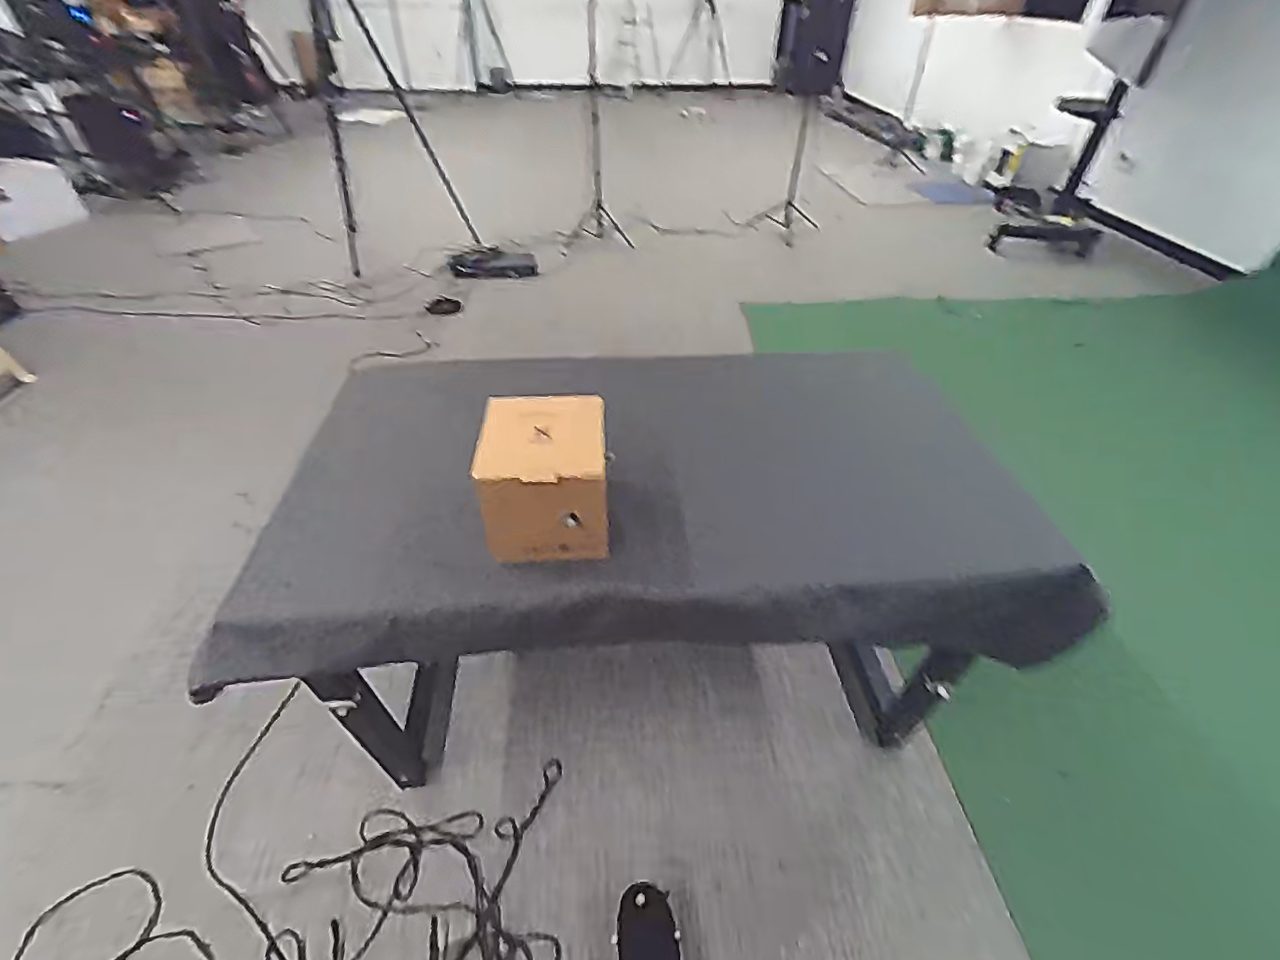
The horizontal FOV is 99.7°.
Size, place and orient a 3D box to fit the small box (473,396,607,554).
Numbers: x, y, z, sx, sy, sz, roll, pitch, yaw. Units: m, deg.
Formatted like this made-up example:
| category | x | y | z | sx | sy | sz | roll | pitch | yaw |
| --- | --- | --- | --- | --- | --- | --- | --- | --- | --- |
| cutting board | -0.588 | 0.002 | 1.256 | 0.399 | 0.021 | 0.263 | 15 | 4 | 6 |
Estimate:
| category | x | y | z | sx | sy | sz | roll | pitch | yaw |
| --- | --- | --- | --- | --- | --- | --- | --- | --- | --- |
| small box | -0.134 | -0.003 | 0.790 | 0.168 | 0.176 | 0.179 | -2 | 42 | -5 |
